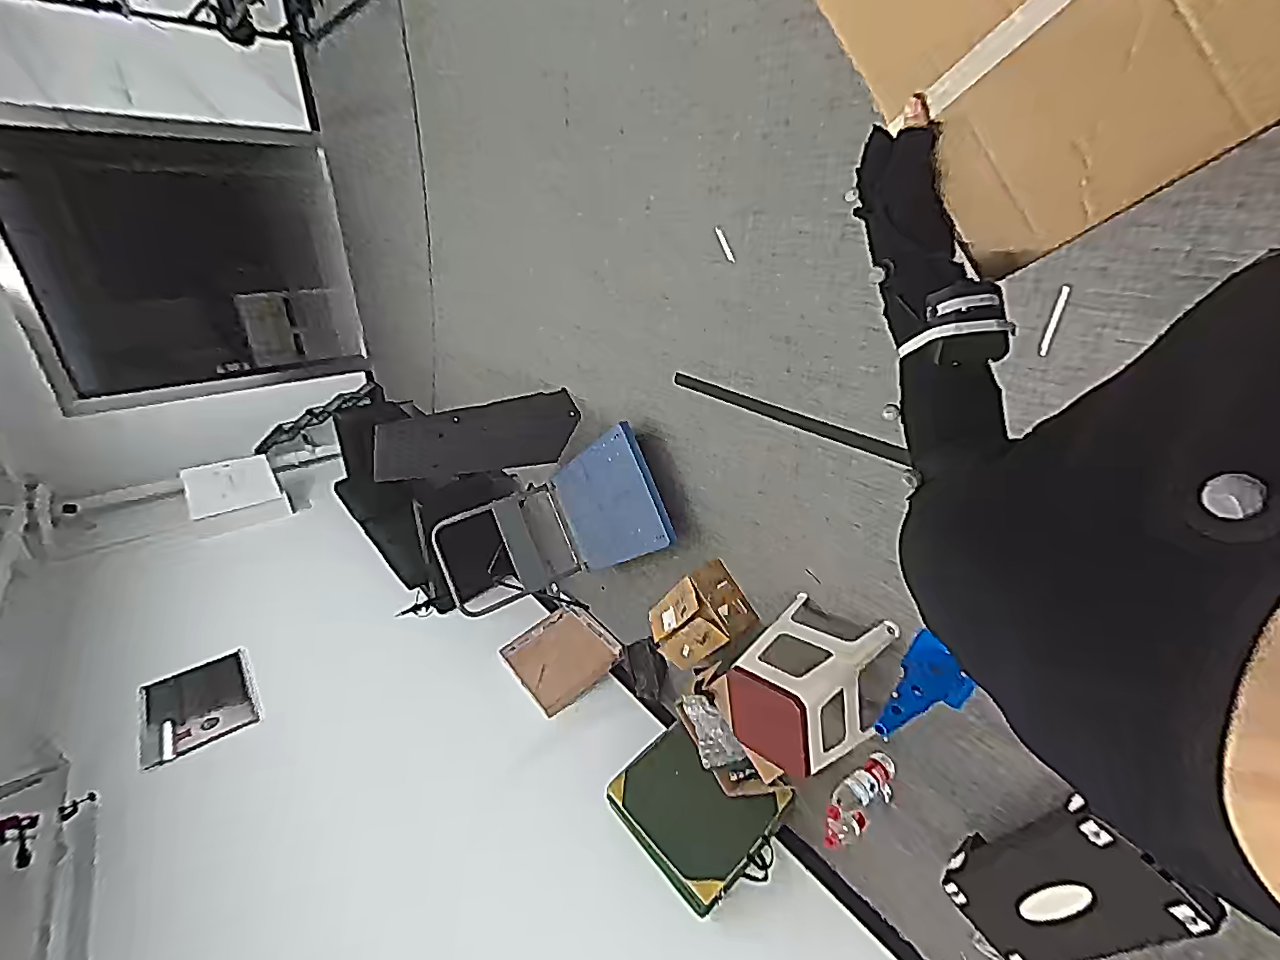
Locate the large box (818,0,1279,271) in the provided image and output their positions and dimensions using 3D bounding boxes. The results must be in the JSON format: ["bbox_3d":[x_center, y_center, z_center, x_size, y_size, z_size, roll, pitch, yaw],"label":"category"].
[{"bbox_3d":[0.433,-0.432,0.429,0.408,0.320,0.320,-31,90,47],"label":"large box"}]
